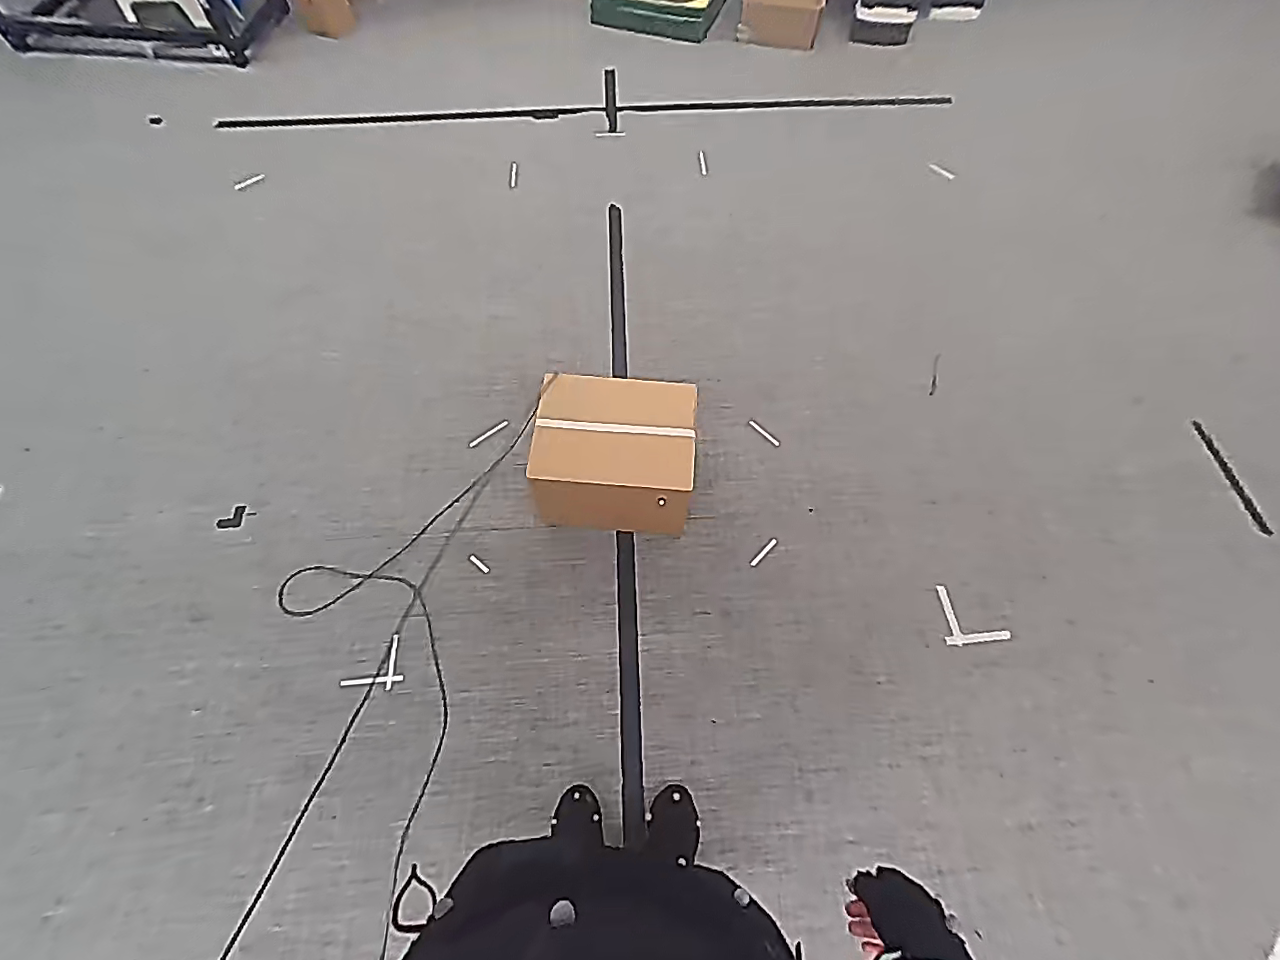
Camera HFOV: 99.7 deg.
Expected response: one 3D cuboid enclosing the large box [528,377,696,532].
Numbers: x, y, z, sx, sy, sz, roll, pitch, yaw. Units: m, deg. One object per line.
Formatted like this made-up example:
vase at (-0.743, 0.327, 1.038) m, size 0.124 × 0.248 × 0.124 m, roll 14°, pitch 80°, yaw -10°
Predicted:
large box at (-0.061, -0.057, 1.484) m, size 0.408 × 0.320 × 0.320 m, roll 5°, pitch 64°, yaw 1°
